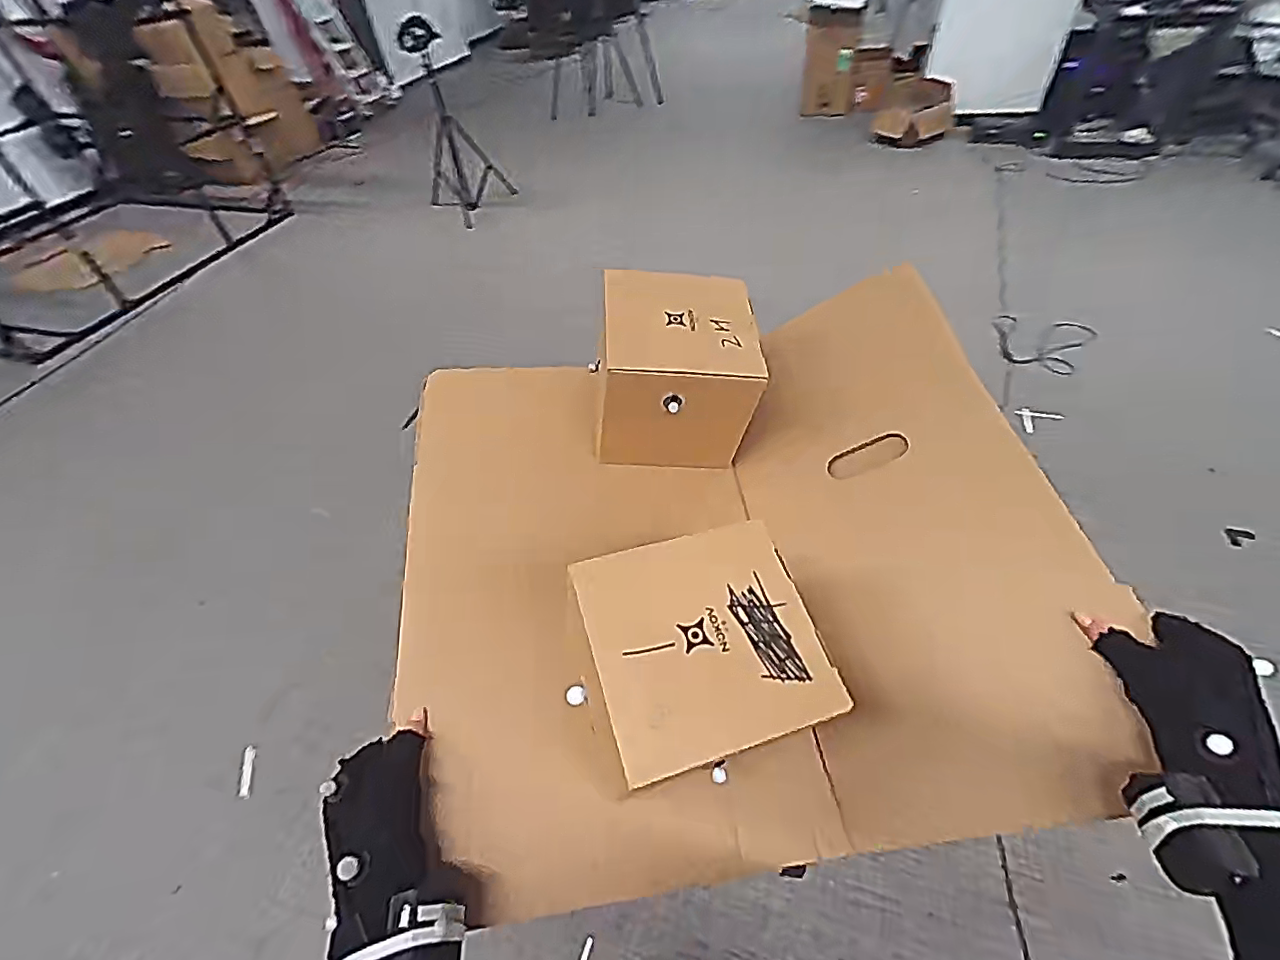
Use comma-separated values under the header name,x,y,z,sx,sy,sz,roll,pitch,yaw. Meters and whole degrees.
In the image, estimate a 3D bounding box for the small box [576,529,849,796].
name,x,y,z,sx,sy,sz,roll,pitch,yaw
small box,0.044,0.167,0.487,0.179,0.176,0.168,-11,59,-14

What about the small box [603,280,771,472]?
name,x,y,z,sx,sy,sz,roll,pitch,yaw
small box,0.045,-0.124,0.680,0.179,0.176,0.168,3,57,-7
